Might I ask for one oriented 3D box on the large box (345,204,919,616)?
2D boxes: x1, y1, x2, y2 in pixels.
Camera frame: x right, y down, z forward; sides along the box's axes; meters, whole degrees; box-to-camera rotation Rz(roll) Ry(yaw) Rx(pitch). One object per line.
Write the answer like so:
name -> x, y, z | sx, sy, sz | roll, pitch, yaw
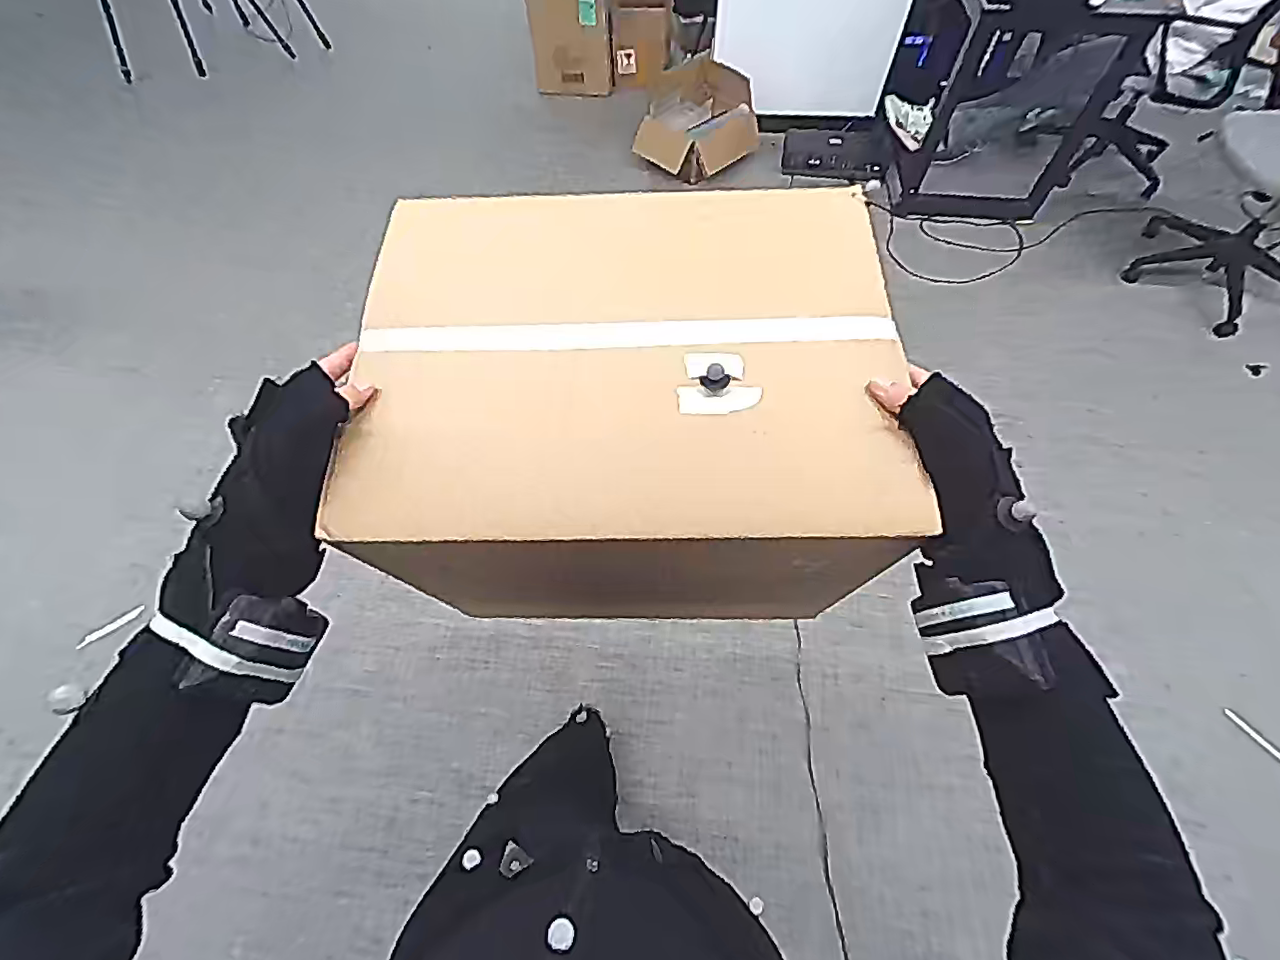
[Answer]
large box -> -0.006, -0.044, 0.564 | 0.408, 0.320, 0.320 | -1, 66, 2
